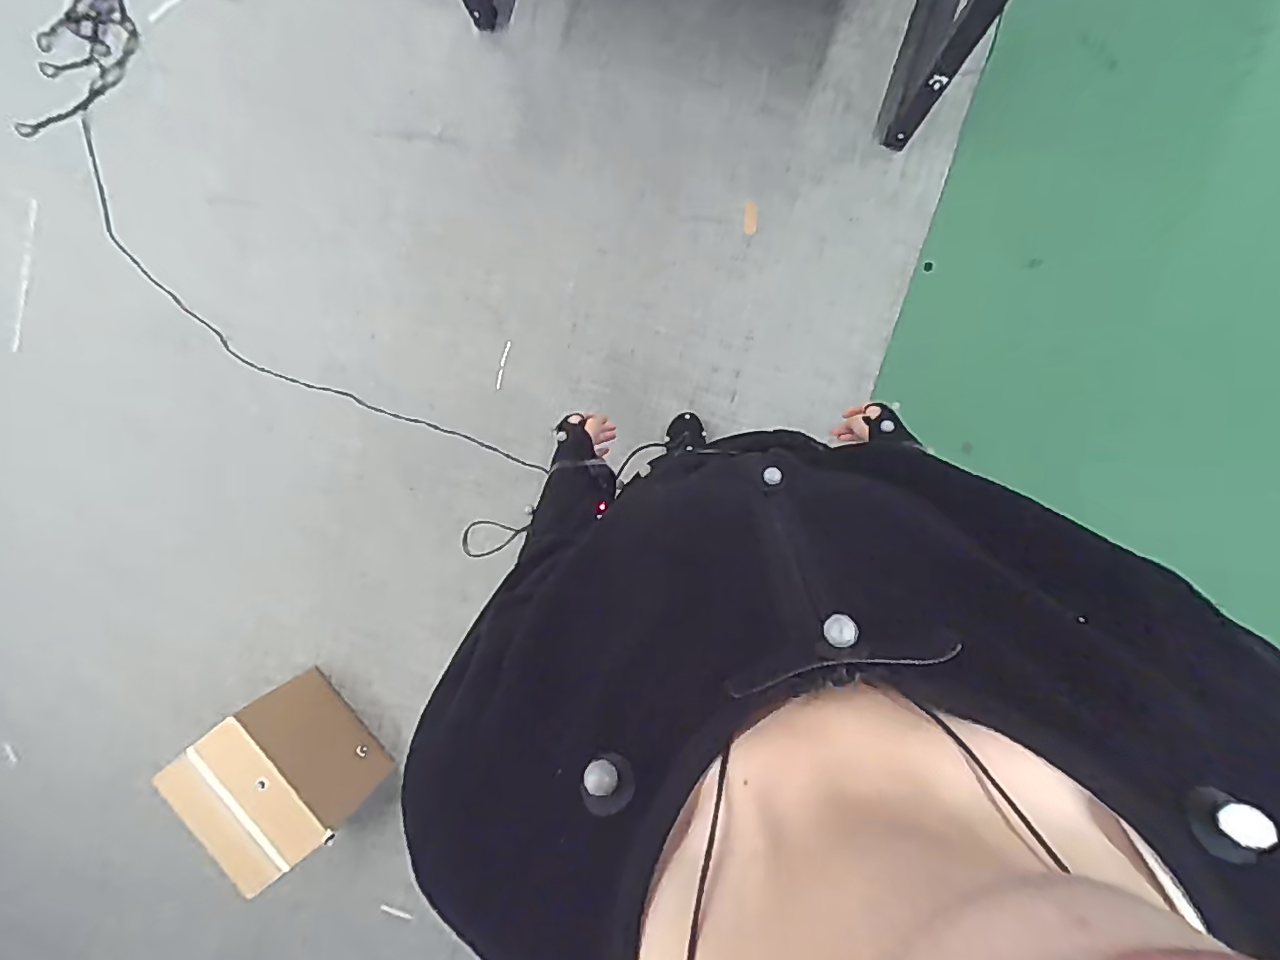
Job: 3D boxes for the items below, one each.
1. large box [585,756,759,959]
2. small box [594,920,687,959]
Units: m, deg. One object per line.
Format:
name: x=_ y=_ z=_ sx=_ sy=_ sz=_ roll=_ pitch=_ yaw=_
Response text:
large box: x=0.081 y=0.964 z=1.414 sx=0.408 sy=0.320 sz=0.320 roll=3 pitch=95 yaw=4
small box: x=-0.004 y=0.975 z=1.012 sx=0.179 sy=0.176 sz=0.168 roll=3 pitch=93 yaw=5
